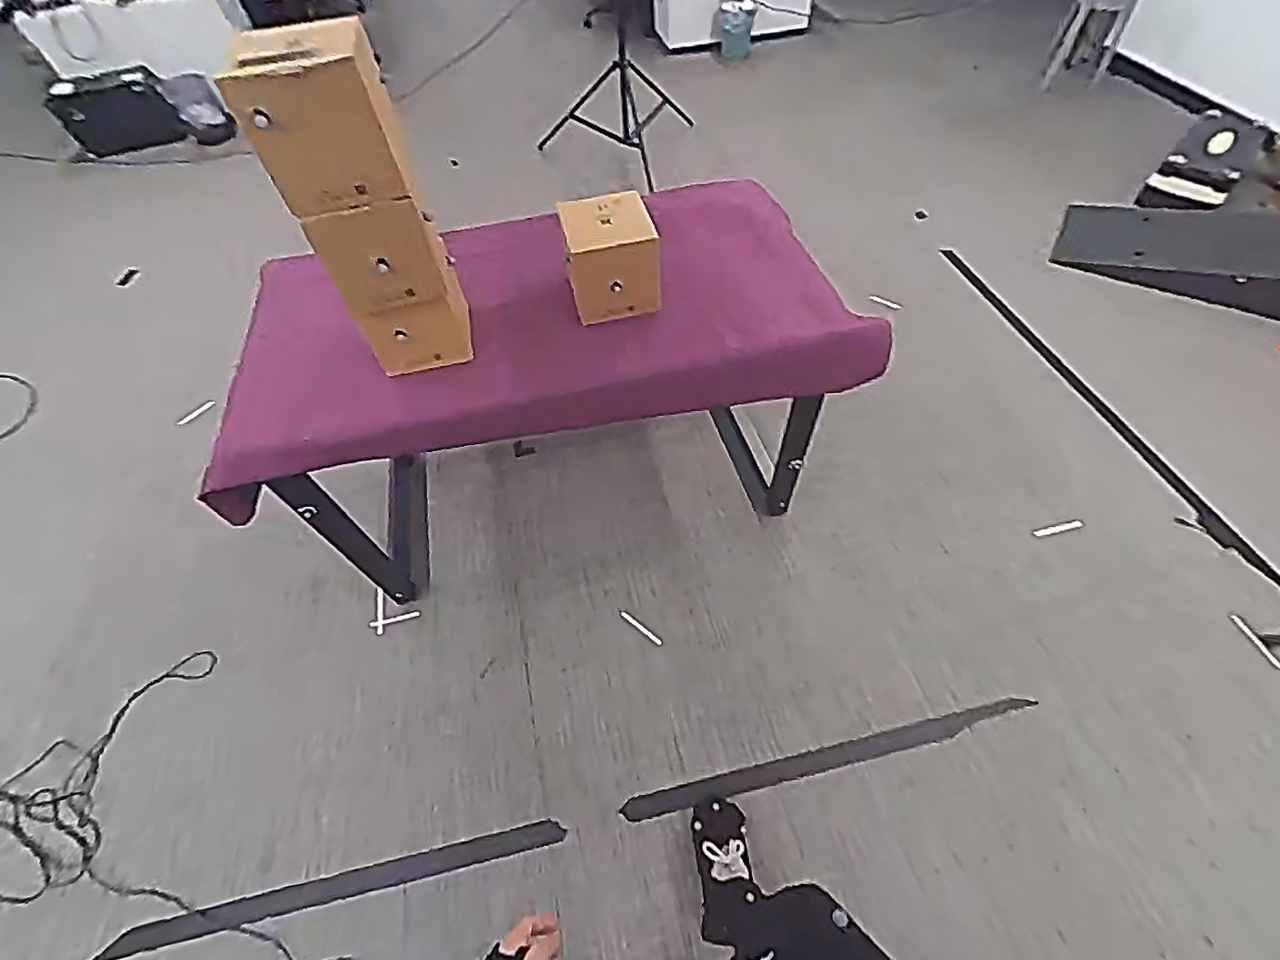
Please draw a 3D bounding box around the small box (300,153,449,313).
[{"bbox_3d":[-0.428,-0.397,0.890,0.168,0.176,0.179,-17,57,-8],"label":"small box"}]

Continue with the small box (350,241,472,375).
[{"bbox_3d":[-0.429,-0.321,1.036,0.168,0.176,0.179,-13,56,-6],"label":"small box"}]

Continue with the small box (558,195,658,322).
[{"bbox_3d":[-0.061,-0.438,1.093,0.168,0.176,0.179,-12,56,-6],"label":"small box"}]
